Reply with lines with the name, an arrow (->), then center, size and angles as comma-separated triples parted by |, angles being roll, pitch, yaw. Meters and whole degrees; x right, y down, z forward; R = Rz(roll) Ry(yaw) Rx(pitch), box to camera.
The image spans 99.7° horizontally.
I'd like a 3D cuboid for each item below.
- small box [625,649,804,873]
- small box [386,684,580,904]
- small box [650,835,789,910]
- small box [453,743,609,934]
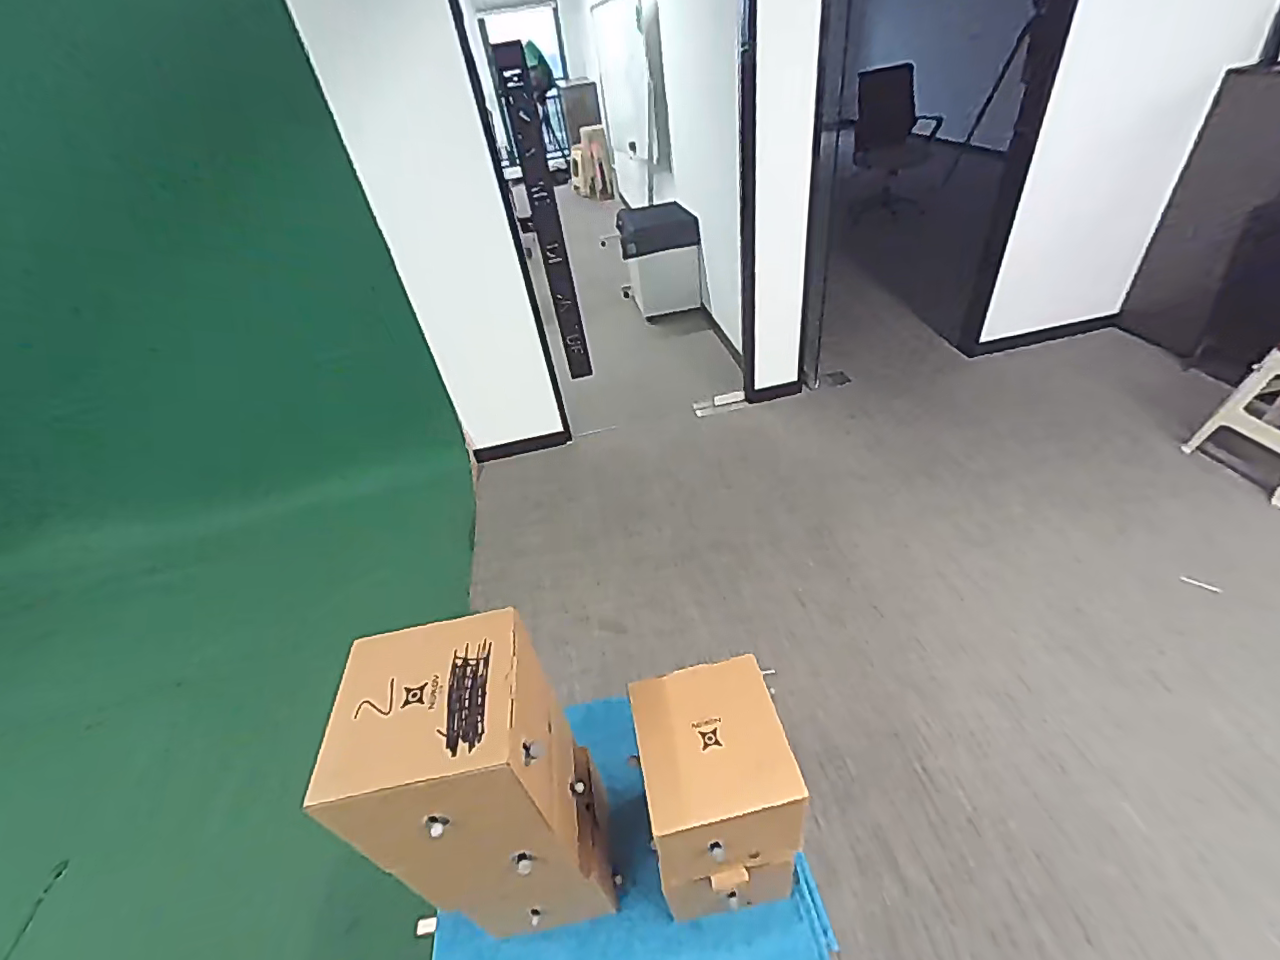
small box -> 0.086, 0.341, 0.652 | 0.168, 0.176, 0.179 | -13, 38, -3
small box -> -0.171, 0.379, 0.654 | 0.179, 0.176, 0.168 | -11, 39, -2
small box -> 0.100, 0.468, 0.753 | 0.168, 0.176, 0.179 | -11, 39, -2
small box -> -0.142, 0.503, 0.759 | 0.179, 0.176, 0.168 | -11, 39, -2
